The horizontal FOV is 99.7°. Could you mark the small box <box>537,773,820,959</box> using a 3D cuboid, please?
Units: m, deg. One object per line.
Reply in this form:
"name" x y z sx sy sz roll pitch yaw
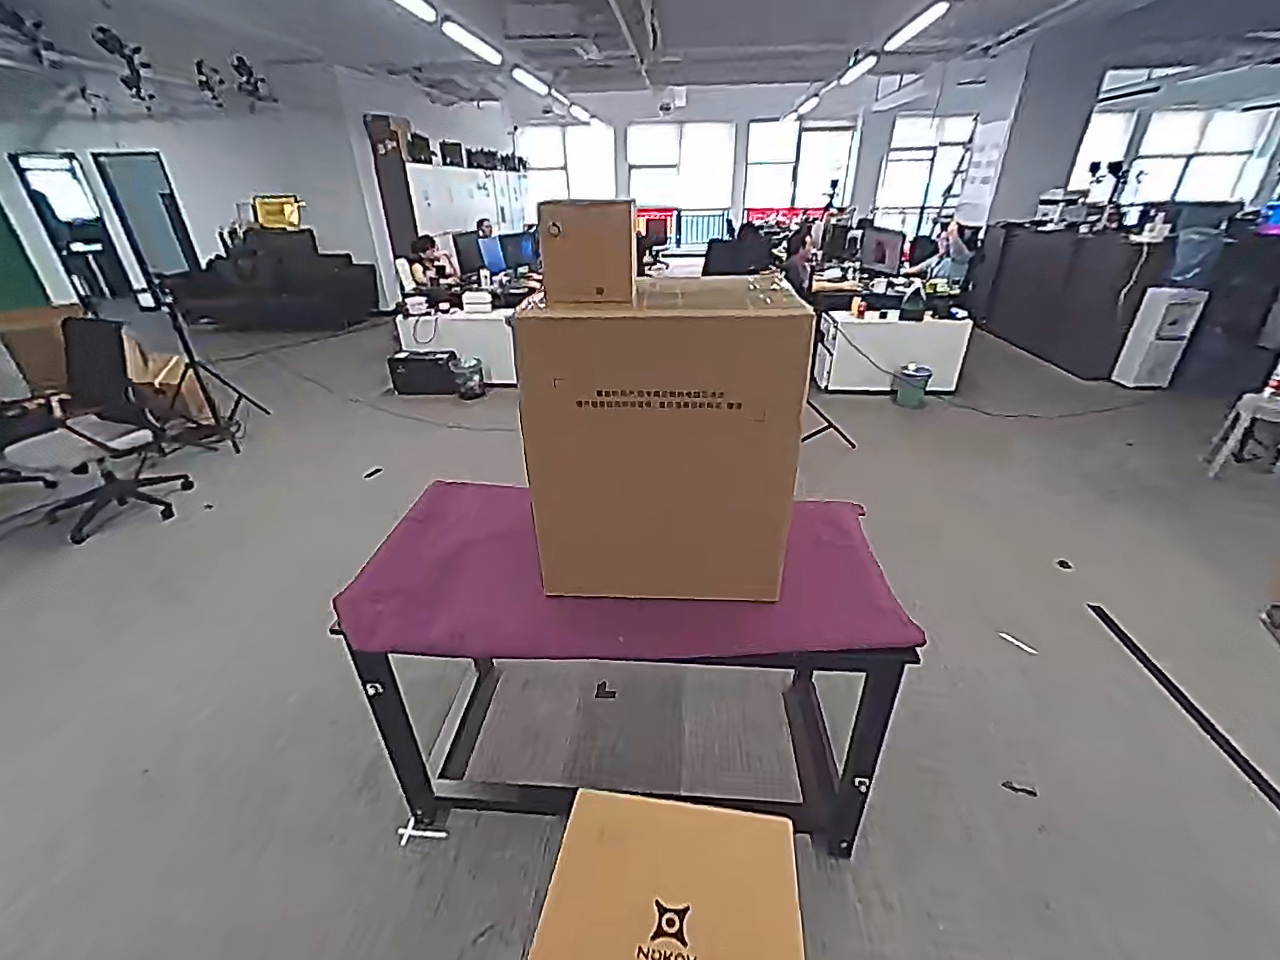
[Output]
"small box" 0.026 0.344 0.369 0.168 0.176 0.179 3 23 8
